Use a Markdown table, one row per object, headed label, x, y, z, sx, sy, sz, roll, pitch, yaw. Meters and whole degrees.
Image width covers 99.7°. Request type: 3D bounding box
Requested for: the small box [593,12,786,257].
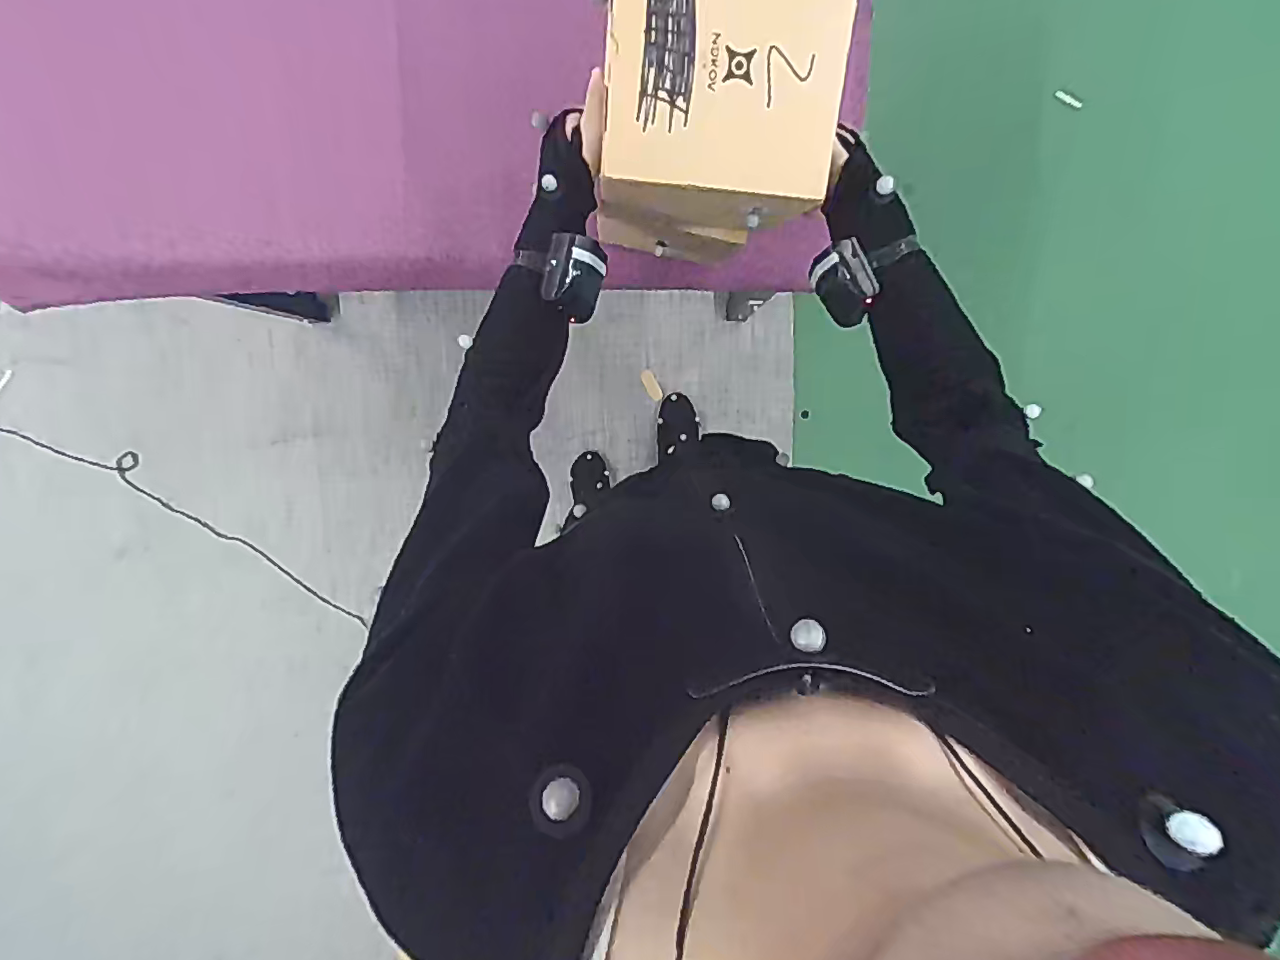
| label | x | y | z | sx | sy | sz | roll | pitch | yaw |
| --- | --- | --- | --- | --- | --- | --- | --- | --- | --- |
| small box | 0.045 | -0.371 | 0.621 | 0.168 | 0.176 | 0.179 | 10 | 102 | -6 |
